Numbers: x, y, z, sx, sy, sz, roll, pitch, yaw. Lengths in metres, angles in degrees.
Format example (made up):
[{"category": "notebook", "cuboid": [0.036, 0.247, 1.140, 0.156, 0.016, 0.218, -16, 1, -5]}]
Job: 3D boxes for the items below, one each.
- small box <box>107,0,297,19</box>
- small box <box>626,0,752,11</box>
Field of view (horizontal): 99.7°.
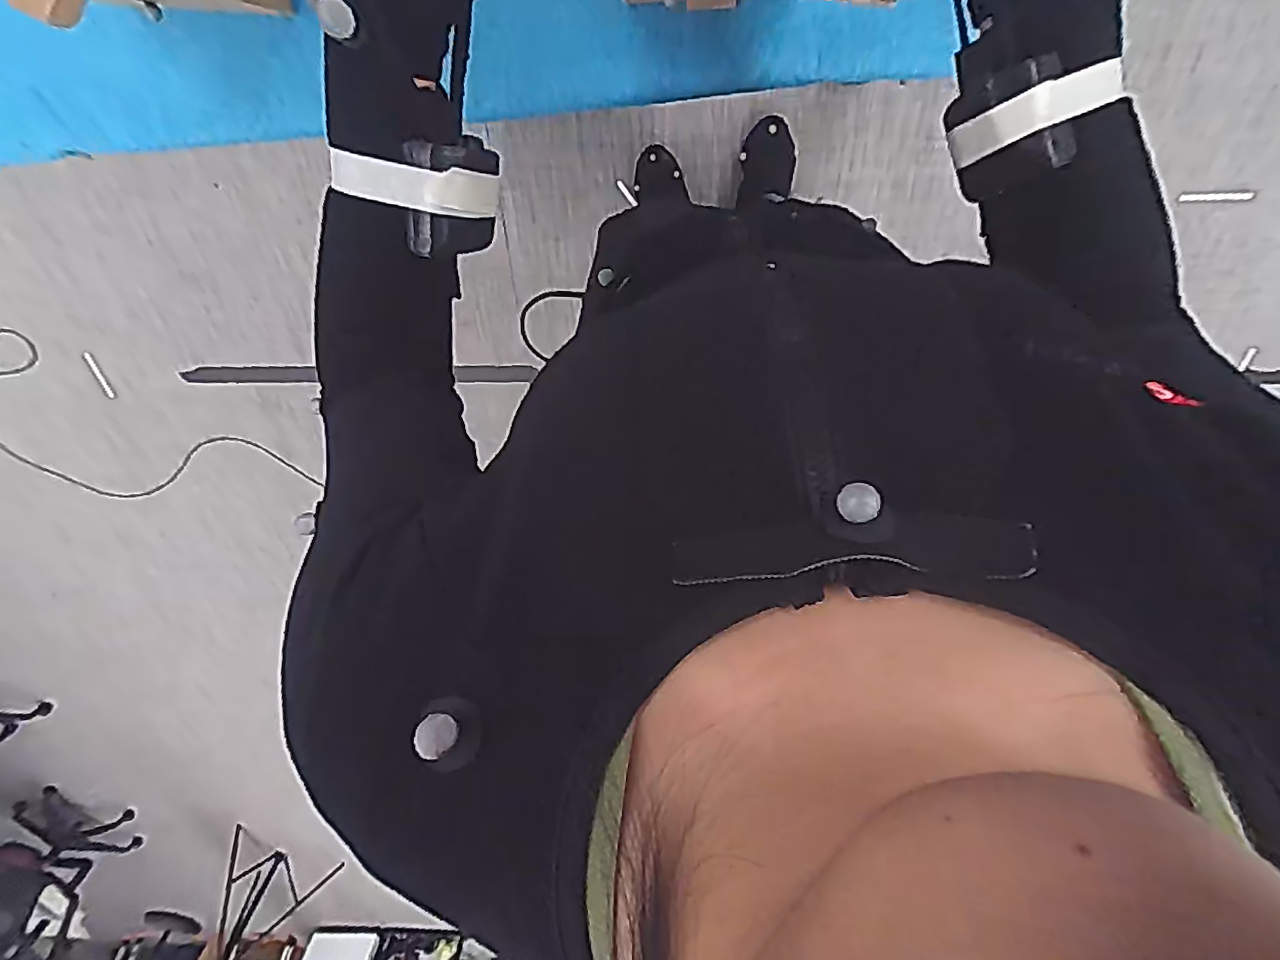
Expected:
[{"category": "small box", "cuboid": [-0.414, -0.482, 0.413, 0.168, 0.176, 0.179, 3, 124, 1]}, {"category": "small box", "cuboid": [0.056, -0.475, 0.390, 0.168, 0.176, 0.179, -1, 123, 4]}]
